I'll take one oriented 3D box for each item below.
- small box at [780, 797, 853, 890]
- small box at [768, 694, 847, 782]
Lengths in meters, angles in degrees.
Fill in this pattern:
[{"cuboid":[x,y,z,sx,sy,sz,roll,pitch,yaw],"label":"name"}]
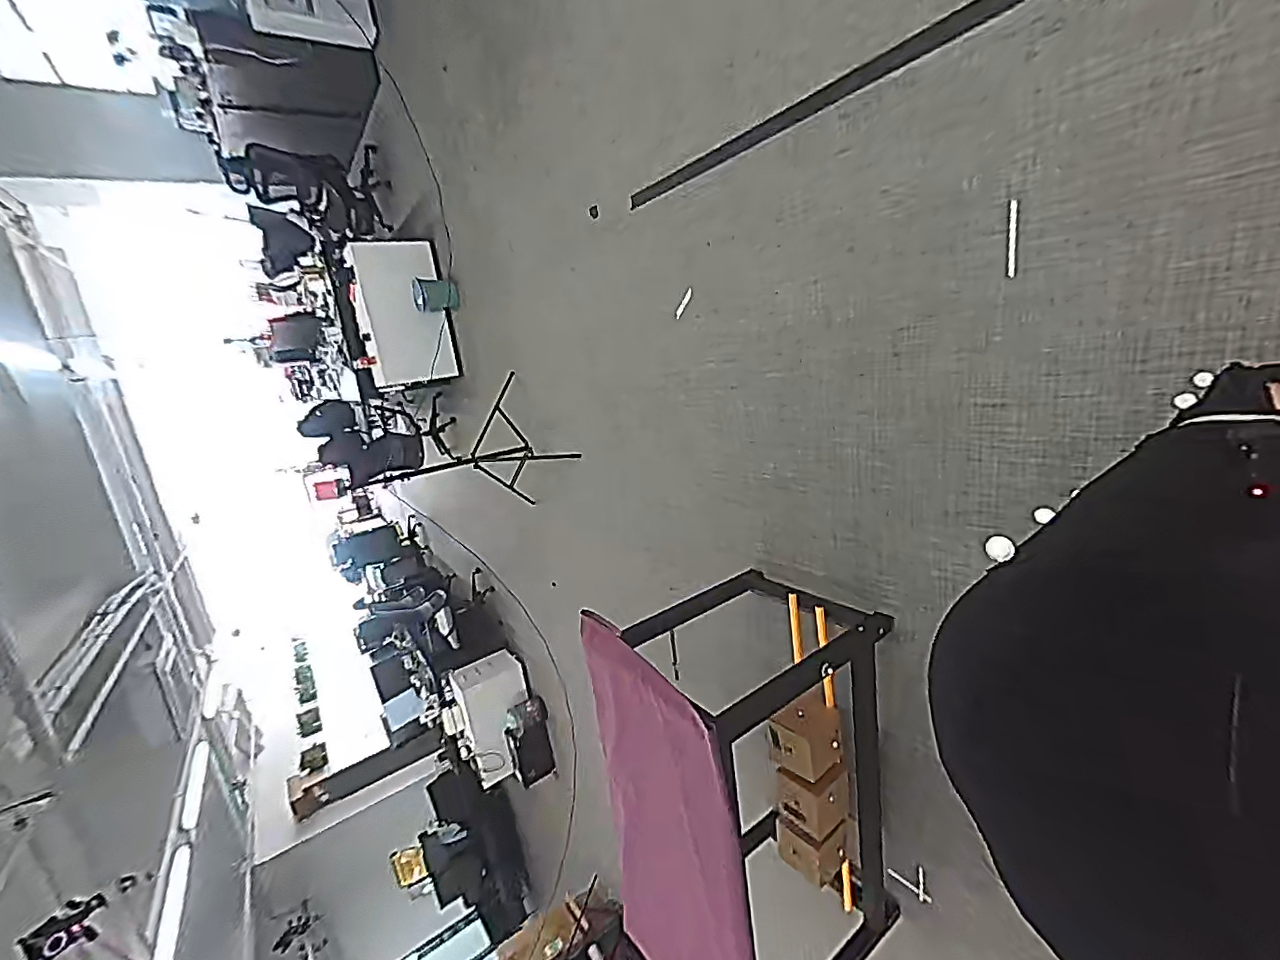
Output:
[{"cuboid":[0.608,1.240,1.865,0.179,0.176,0.168,10,113,52],"label":"small box"},{"cuboid":[0.547,0.830,1.764,0.179,0.176,0.168,7,112,52],"label":"small box"}]
